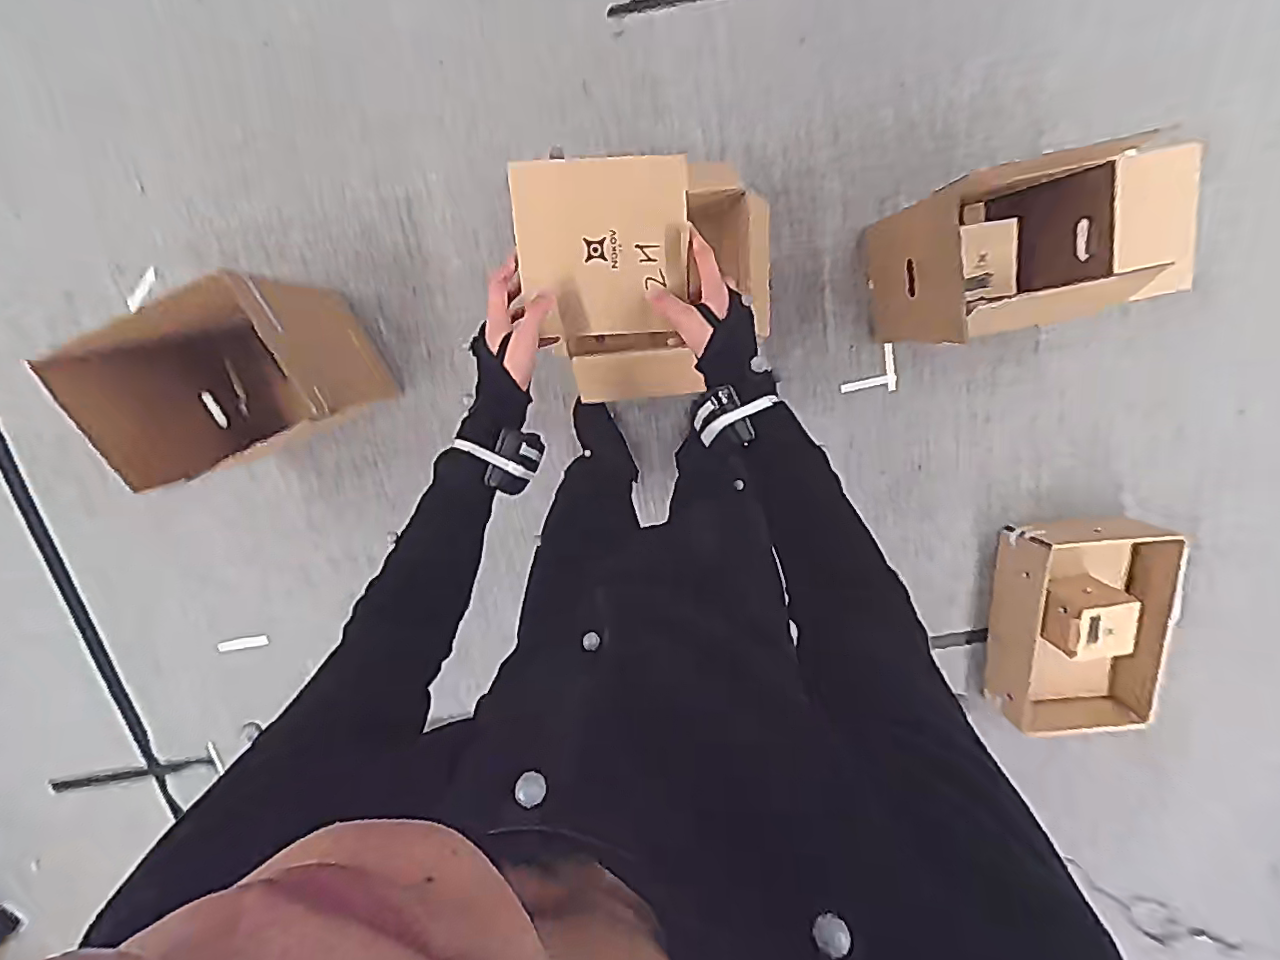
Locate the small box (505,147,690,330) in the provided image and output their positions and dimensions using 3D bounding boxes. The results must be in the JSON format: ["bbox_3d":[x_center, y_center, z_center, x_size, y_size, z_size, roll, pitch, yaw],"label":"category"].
[{"bbox_3d":[-0.042,-0.261,0.608,0.179,0.176,0.168,-3,111,-3],"label":"small box"}]
